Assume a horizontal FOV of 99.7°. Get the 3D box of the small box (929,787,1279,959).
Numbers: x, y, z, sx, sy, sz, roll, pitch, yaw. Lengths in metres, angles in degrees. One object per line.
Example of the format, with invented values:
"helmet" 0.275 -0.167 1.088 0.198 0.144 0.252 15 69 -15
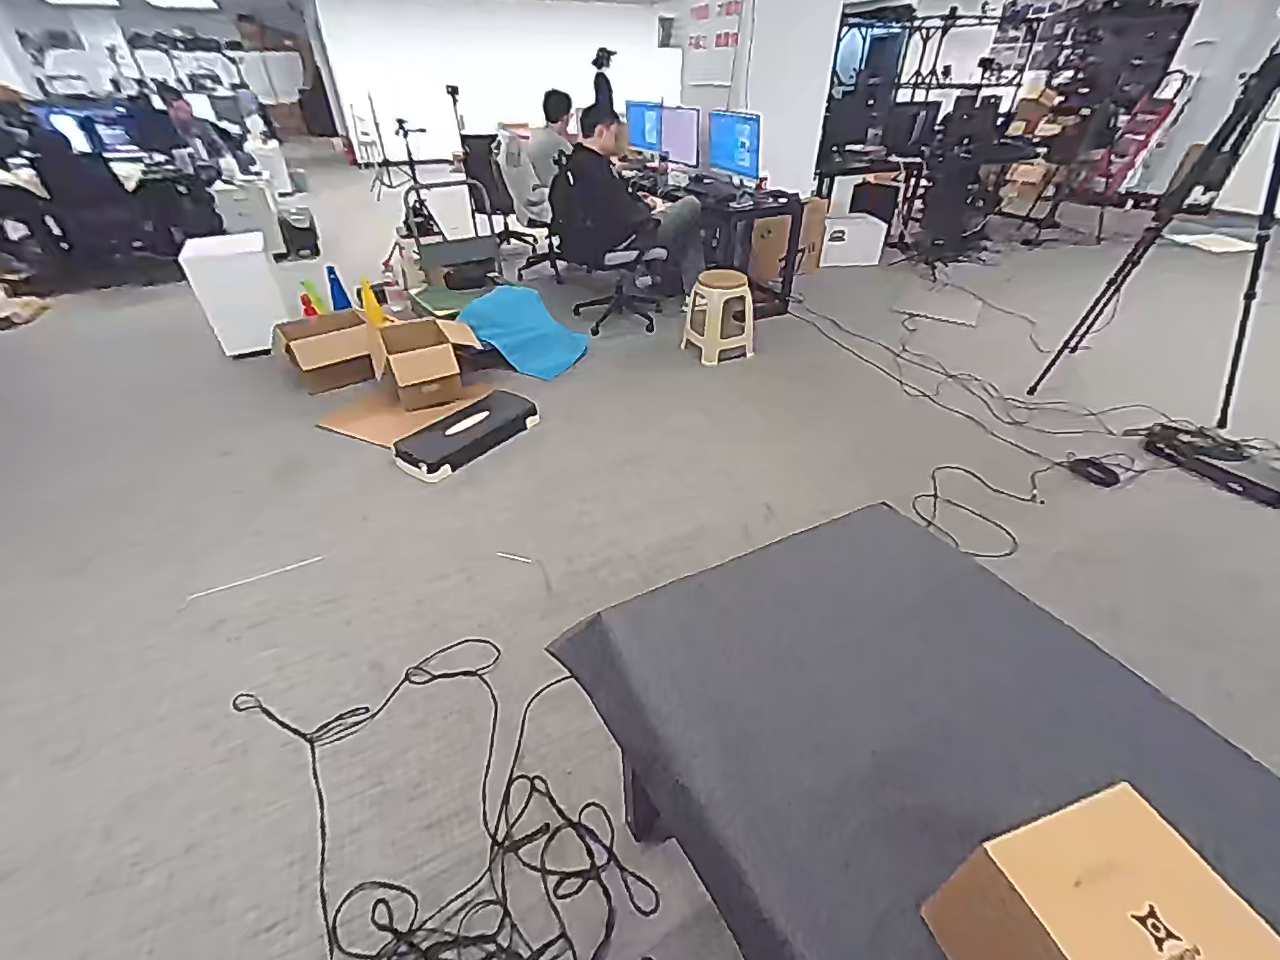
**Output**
"small box" 0.384 0.400 0.444 0.168 0.176 0.179 -10 37 -15
